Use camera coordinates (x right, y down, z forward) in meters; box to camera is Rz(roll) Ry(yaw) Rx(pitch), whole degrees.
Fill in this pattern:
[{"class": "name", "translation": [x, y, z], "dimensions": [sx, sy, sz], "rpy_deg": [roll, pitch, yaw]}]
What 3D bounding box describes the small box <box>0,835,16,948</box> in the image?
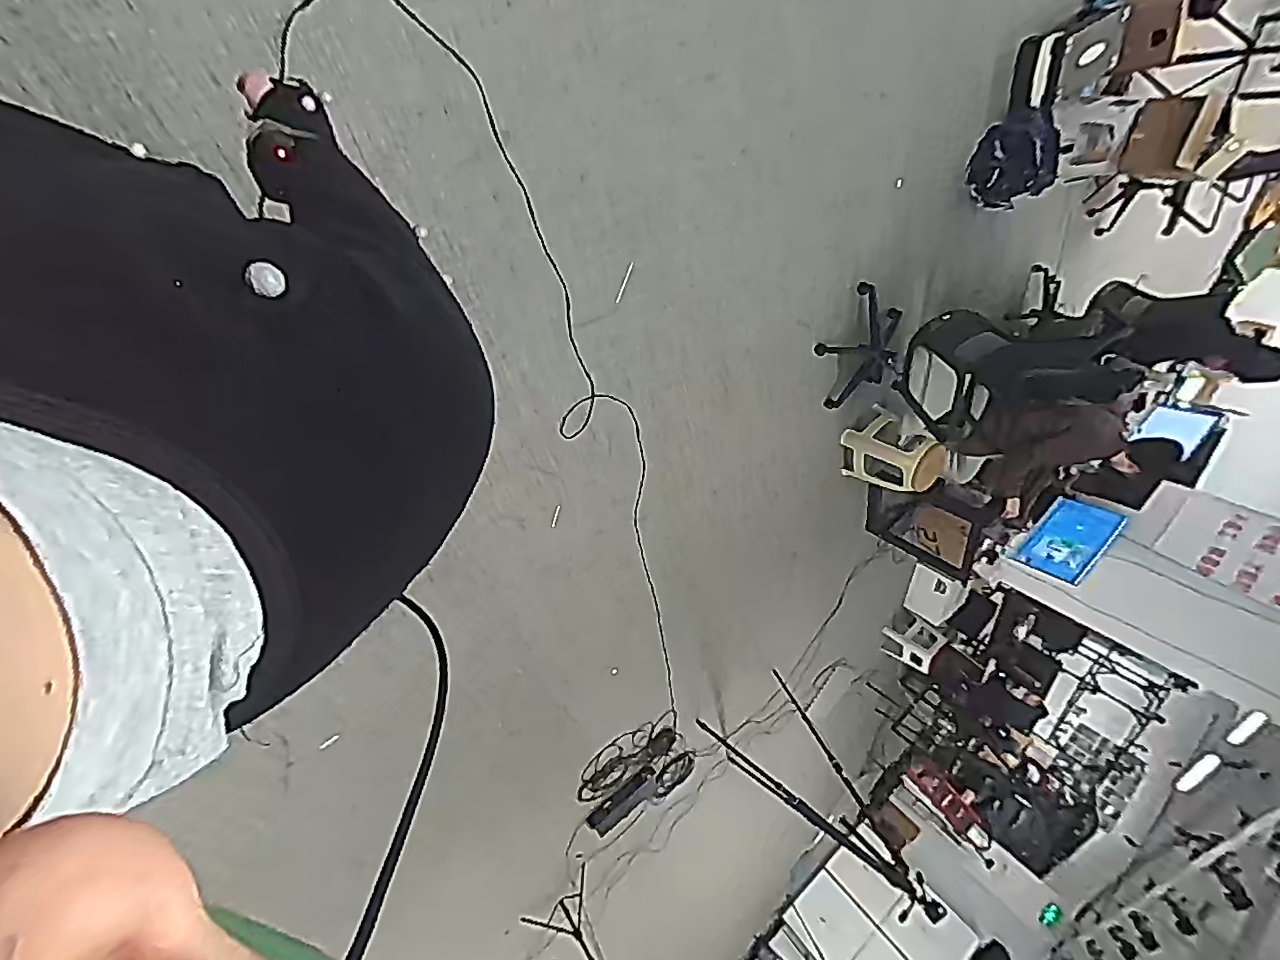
[{"class": "small box", "translation": [-0.863, 0.499, 0.595], "dimensions": [0.179, 0.176, 0.168], "rpy_deg": [-36, 130, -18]}]
